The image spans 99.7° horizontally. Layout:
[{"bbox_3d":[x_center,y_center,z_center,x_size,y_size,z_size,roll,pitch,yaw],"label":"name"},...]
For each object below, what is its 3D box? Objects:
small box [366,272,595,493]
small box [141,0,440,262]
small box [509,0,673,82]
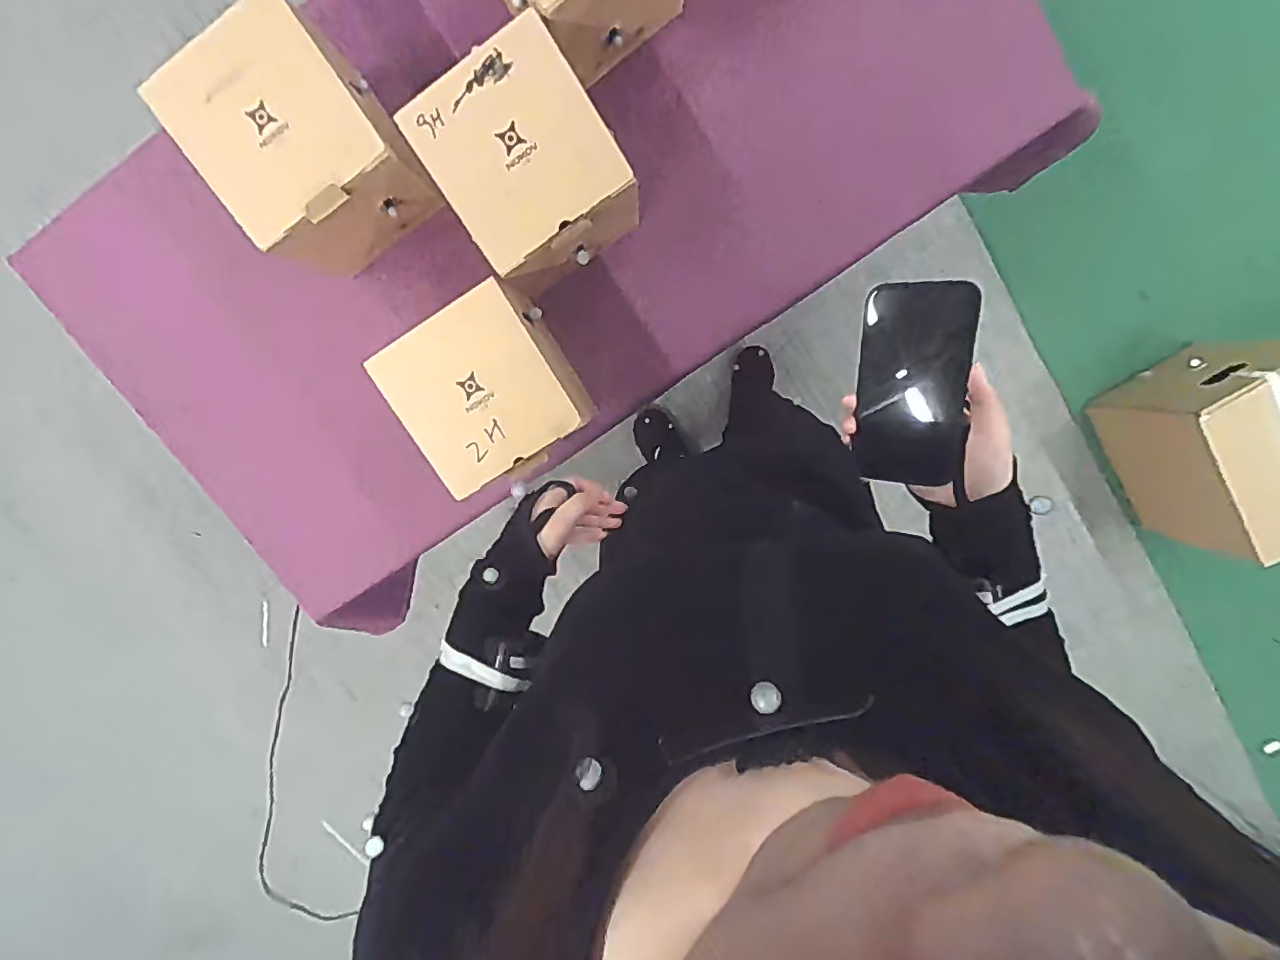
[{"bbox_3d":[-0.170,-0.112,0.638,0.168,0.176,0.179,-30,100,8],"label":"small box"},{"bbox_3d":[-0.354,-0.360,0.589,0.168,0.176,0.179,-33,100,7],"label":"small box"},{"bbox_3d":[-0.070,-0.561,0.541,0.168,0.176,0.179,-36,101,8],"label":"small box"}]
